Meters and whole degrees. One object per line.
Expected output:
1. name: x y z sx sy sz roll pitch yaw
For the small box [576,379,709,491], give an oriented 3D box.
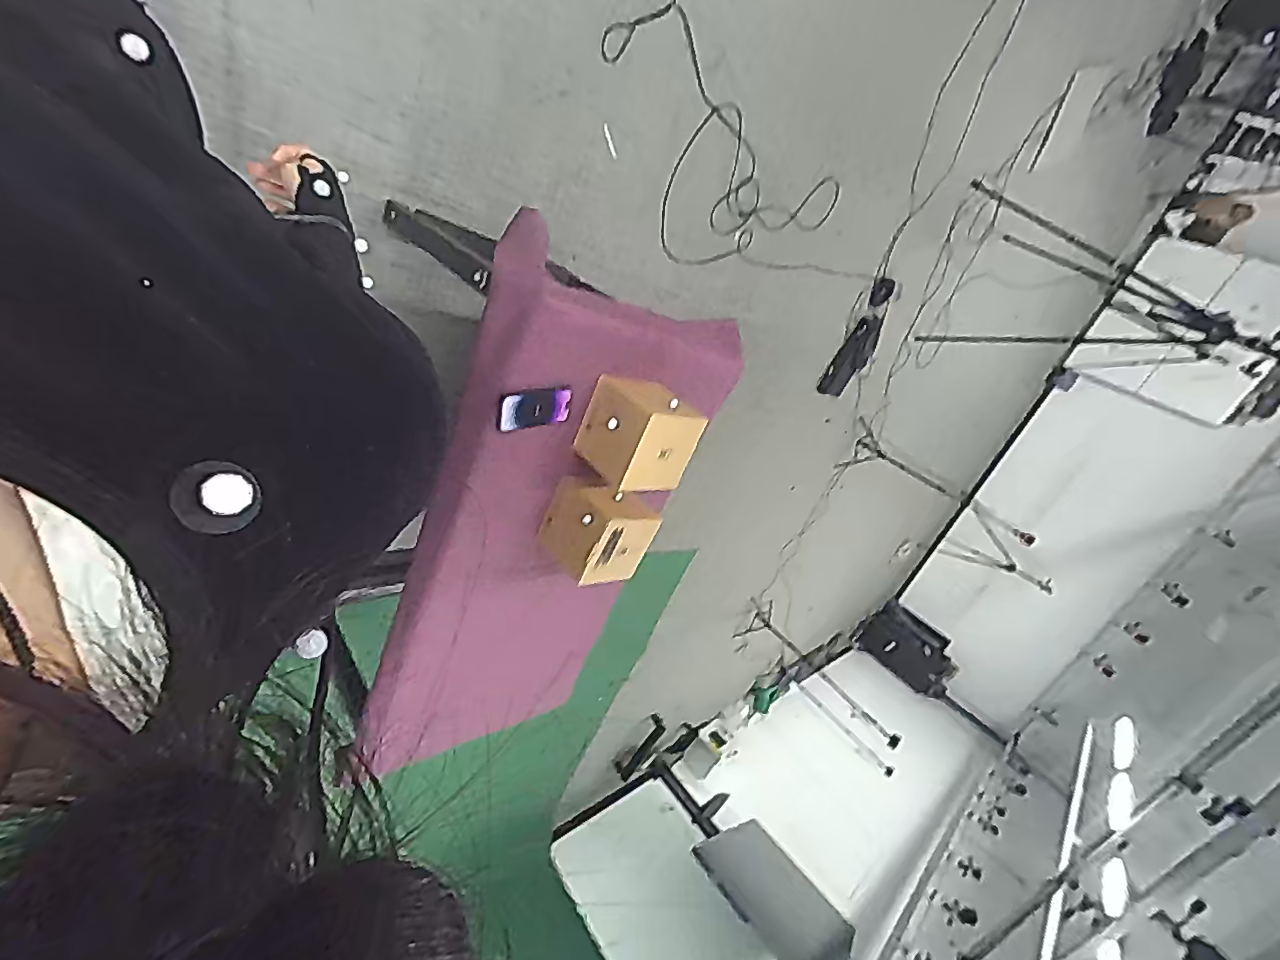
1. small box: 0.000 -0.091 1.095 0.179 0.176 0.168 -2 123 -48
